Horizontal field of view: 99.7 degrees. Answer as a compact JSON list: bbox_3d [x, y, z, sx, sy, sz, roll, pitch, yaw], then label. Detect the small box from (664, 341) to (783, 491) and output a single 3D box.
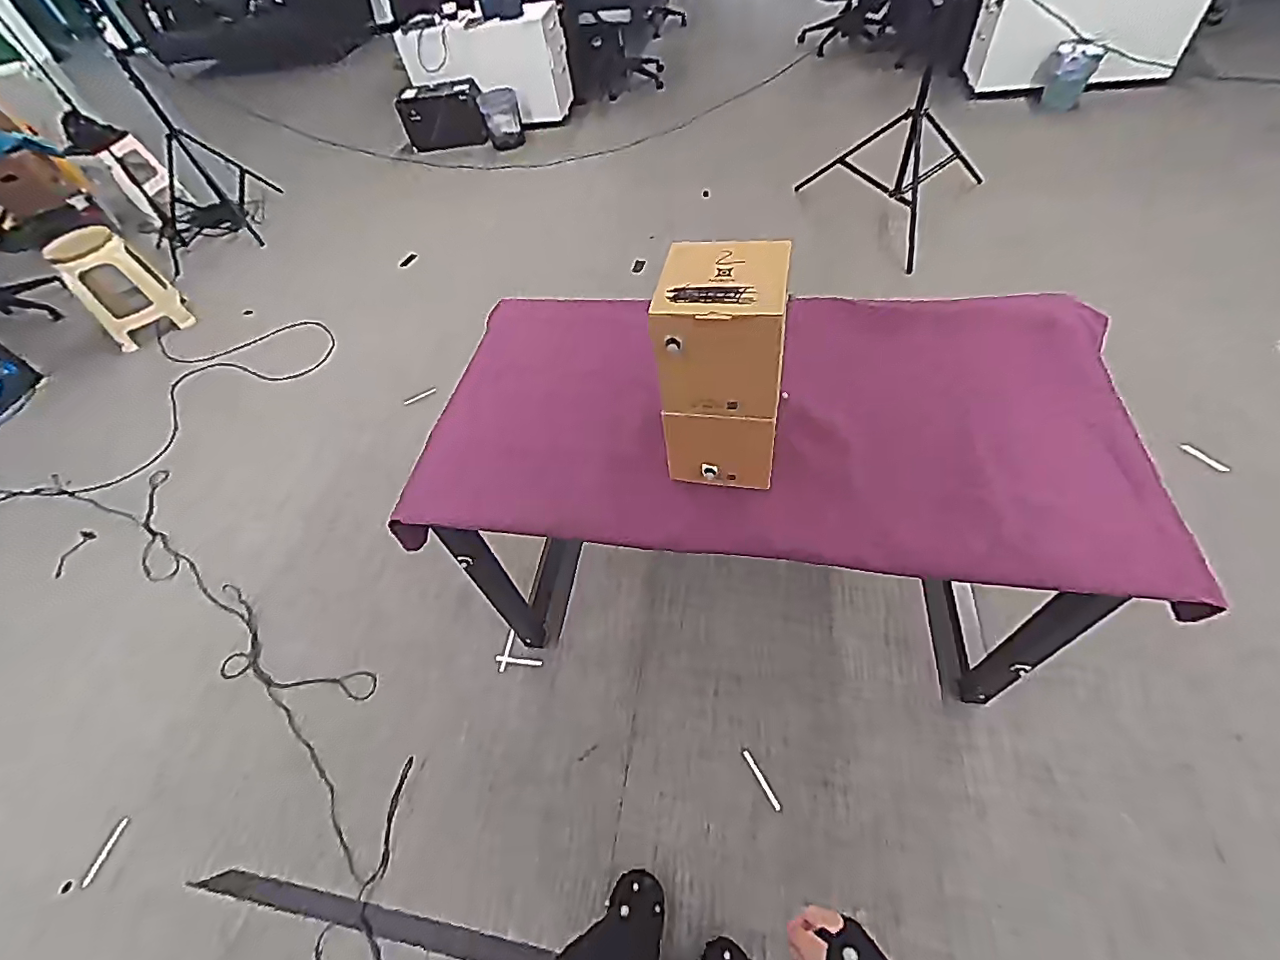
[{"bbox_3d":[0.140,-0.106,0.890,0.168,0.176,0.179,5,54,13],"label":"small box"}]
